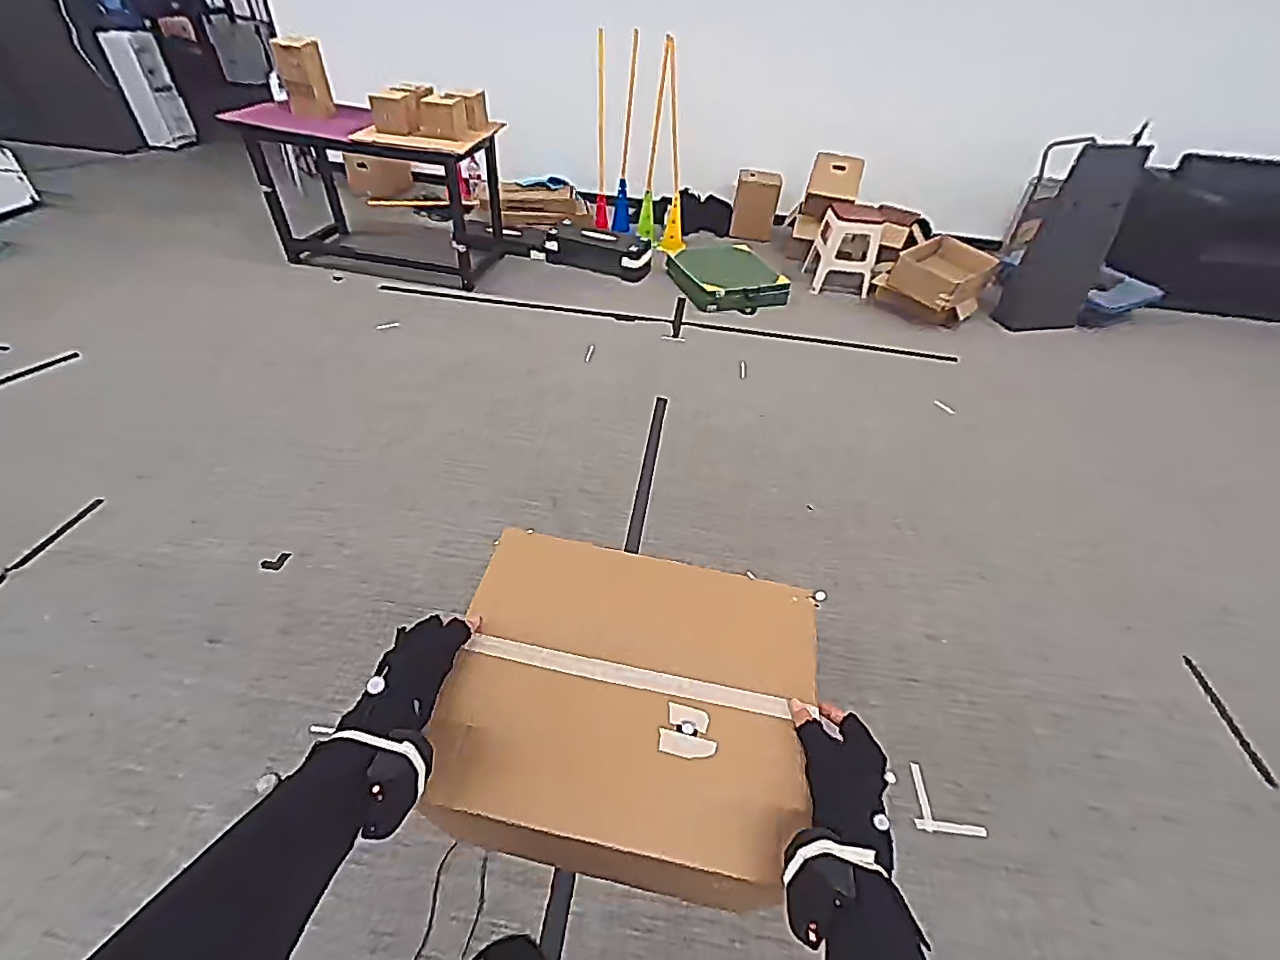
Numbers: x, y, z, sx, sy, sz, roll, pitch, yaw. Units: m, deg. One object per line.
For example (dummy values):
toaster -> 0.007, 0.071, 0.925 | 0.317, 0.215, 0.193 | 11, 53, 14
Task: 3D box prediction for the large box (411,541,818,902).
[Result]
large box -> -0.018, 0.322, 0.719 | 0.408, 0.320, 0.320 | 11, 50, 3
